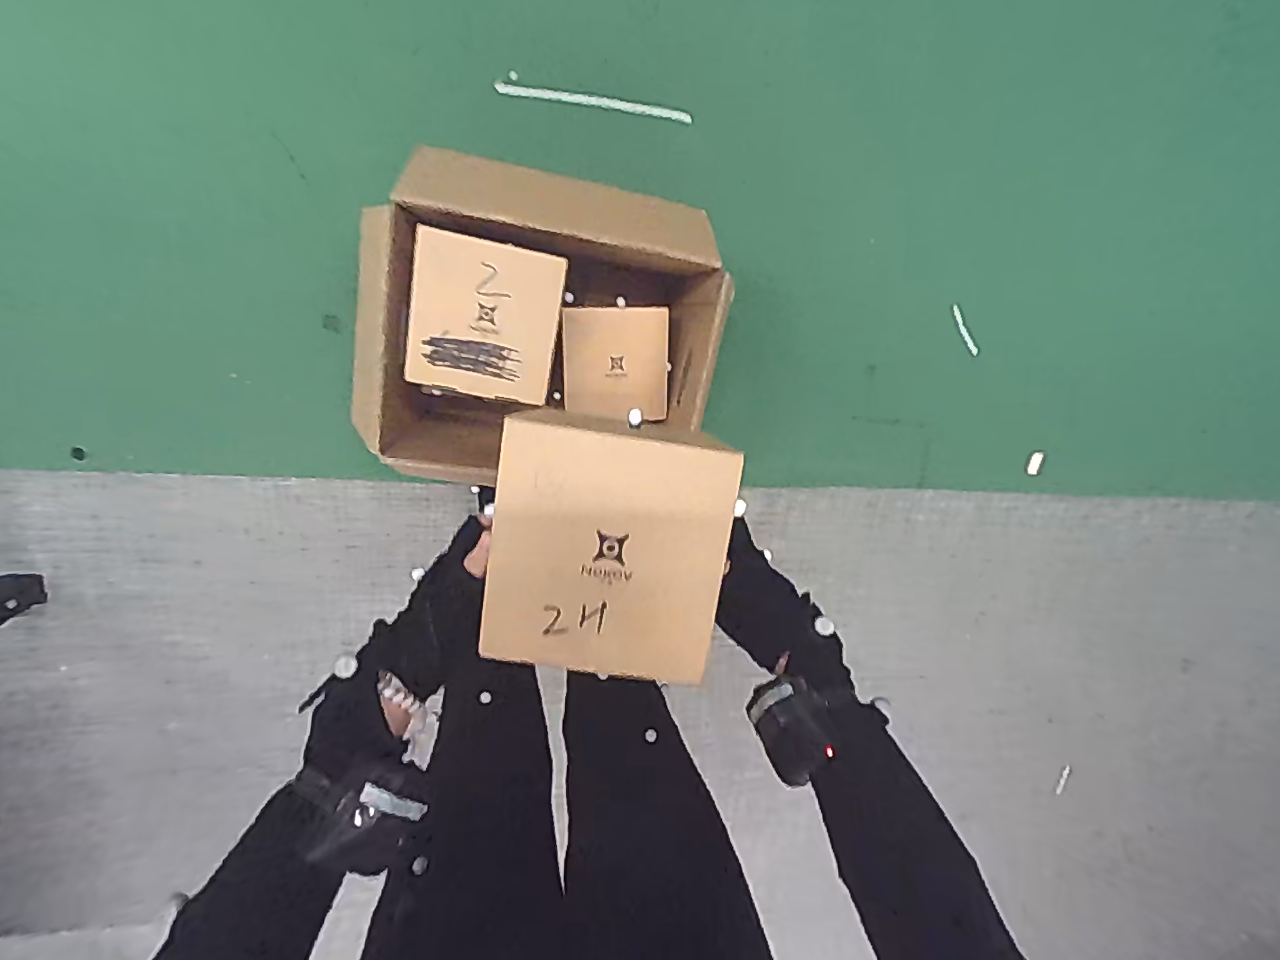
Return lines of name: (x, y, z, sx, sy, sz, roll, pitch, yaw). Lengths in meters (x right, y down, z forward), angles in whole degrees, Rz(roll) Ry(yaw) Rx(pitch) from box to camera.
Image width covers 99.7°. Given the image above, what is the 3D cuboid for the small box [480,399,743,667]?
small box: (-0.025, 0.029, 0.464, 0.168, 0.176, 0.179, 10, 99, -3)
